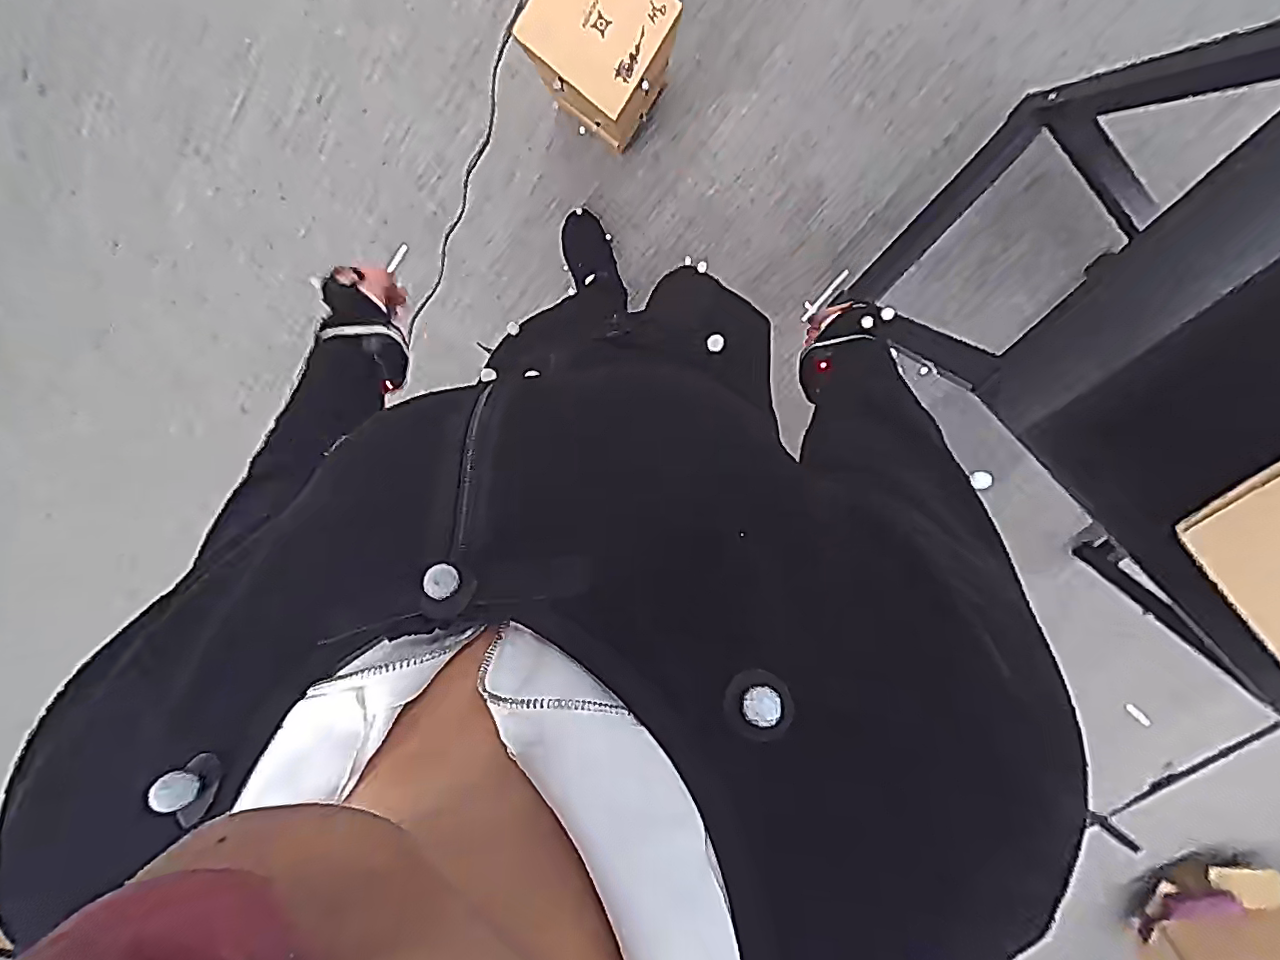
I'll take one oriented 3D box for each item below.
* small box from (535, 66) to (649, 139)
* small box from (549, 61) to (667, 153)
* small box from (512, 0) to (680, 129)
[{"bbox_3d":[-0.063,-0.740,0.954,0.168,0.176,0.179,29,111,-15],"label":"small box"},{"bbox_3d":[-0.064,-0.804,1.102,0.168,0.176,0.179,33,113,-15],"label":"small box"},{"bbox_3d":[-0.061,-0.663,0.809,0.179,0.176,0.168,33,112,-15],"label":"small box"}]
